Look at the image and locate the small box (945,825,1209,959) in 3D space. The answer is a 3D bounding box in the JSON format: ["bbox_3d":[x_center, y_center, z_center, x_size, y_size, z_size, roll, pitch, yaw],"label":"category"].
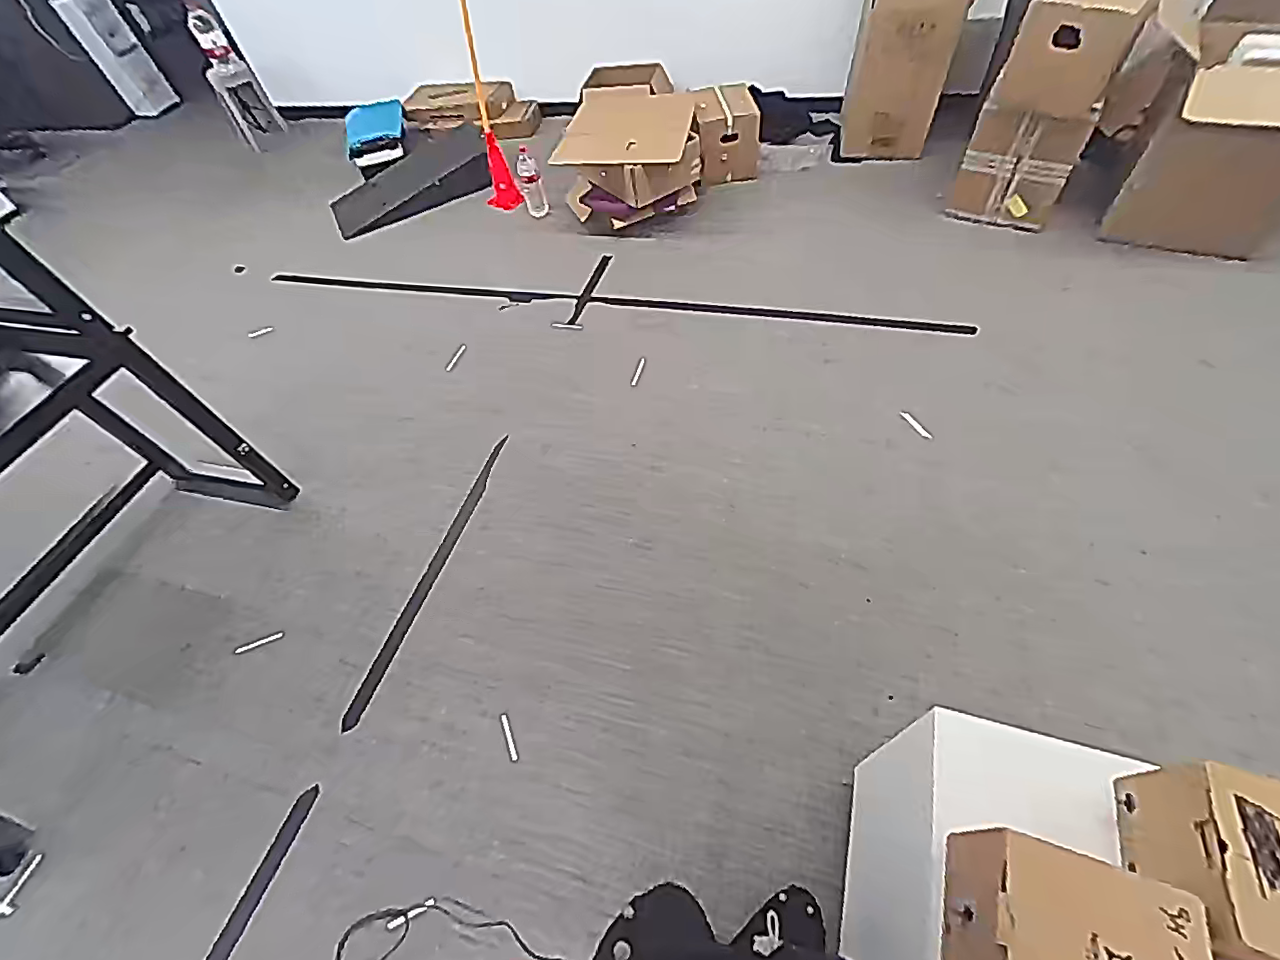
[{"bbox_3d":[0.442,0.495,0.571,0.179,0.176,0.168,14,57,17],"label":"small box"}]

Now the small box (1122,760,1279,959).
[{"bbox_3d":[0.669,0.431,0.585,0.179,0.176,0.168,13,58,16],"label":"small box"}]
